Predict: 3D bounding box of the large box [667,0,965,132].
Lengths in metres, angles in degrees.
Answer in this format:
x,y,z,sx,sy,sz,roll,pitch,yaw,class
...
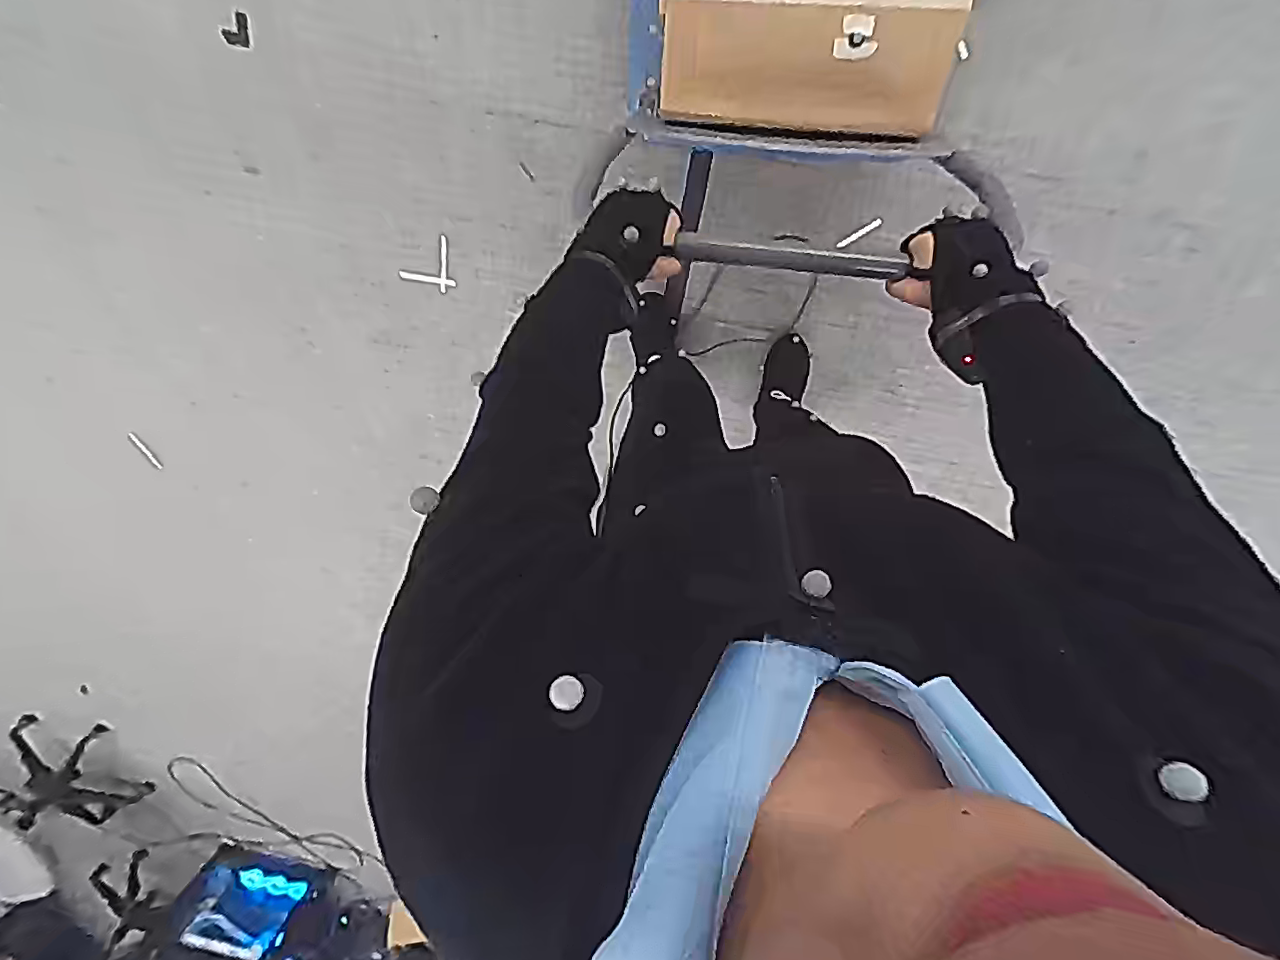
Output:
x,y,z,sx,sy,sz,roll,pitch,yaw,class
0.259,-0.754,0.858,0.408,0.320,0.320,6,128,5,large box
